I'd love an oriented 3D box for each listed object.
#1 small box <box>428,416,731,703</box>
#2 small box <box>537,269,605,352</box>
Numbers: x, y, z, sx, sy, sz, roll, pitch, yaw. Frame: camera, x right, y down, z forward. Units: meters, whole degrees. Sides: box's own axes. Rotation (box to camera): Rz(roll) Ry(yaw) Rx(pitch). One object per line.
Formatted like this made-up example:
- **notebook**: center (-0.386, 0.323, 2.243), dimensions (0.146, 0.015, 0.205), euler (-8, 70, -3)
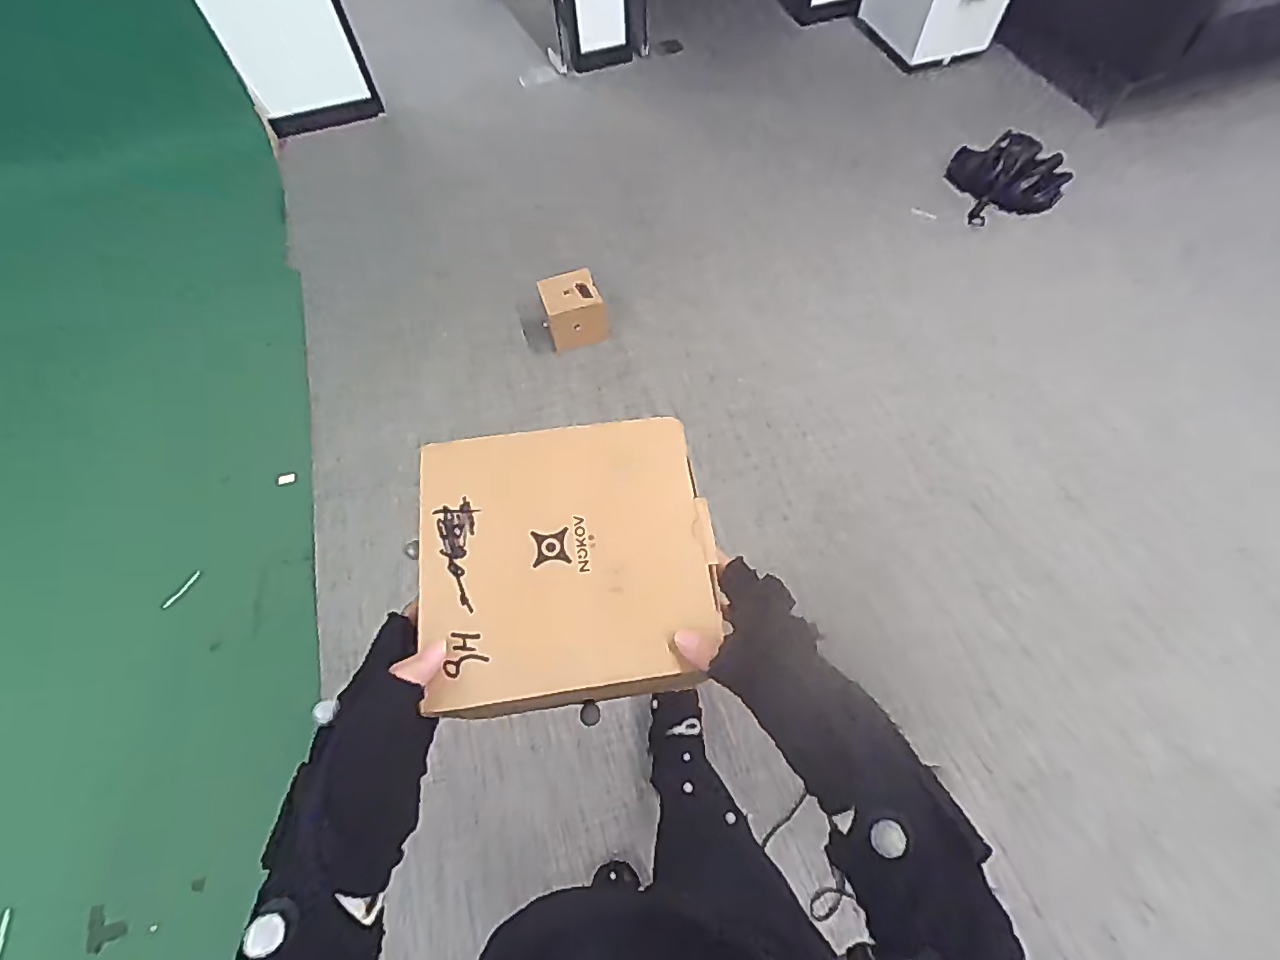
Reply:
- **small box**: center (-0.047, 0.069, 0.410), dimensions (0.179, 0.176, 0.168), euler (-6, 65, -7)
- **small box**: center (-0.219, -0.550, 1.769), dimensions (0.179, 0.176, 0.168), euler (-18, 63, -6)
